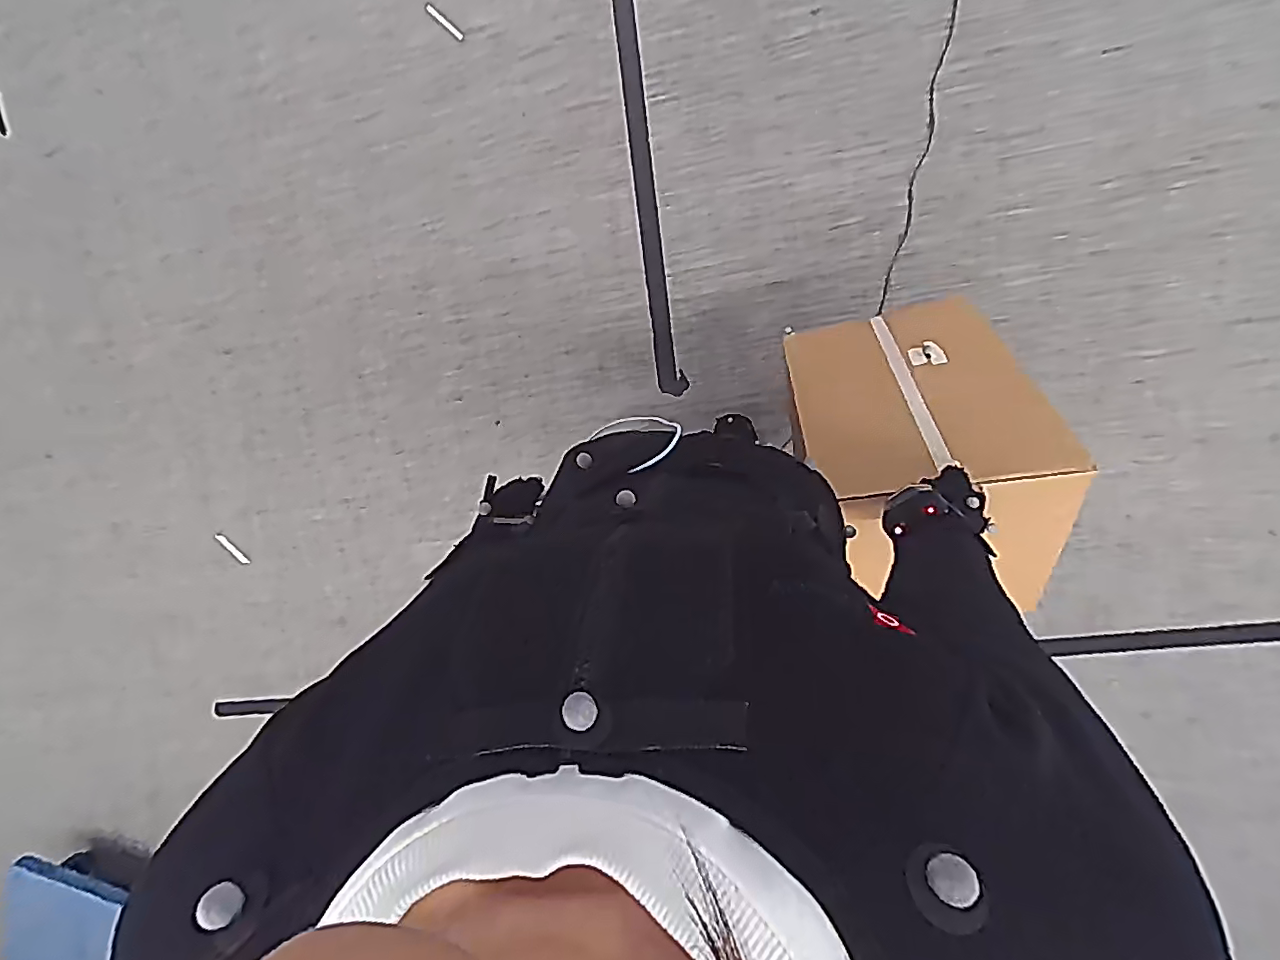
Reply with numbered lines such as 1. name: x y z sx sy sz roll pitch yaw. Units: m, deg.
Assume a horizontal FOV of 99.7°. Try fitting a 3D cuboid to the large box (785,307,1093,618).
1. large box: 0.436 -0.030 0.906 0.320 0.408 0.320 -7 134 12
